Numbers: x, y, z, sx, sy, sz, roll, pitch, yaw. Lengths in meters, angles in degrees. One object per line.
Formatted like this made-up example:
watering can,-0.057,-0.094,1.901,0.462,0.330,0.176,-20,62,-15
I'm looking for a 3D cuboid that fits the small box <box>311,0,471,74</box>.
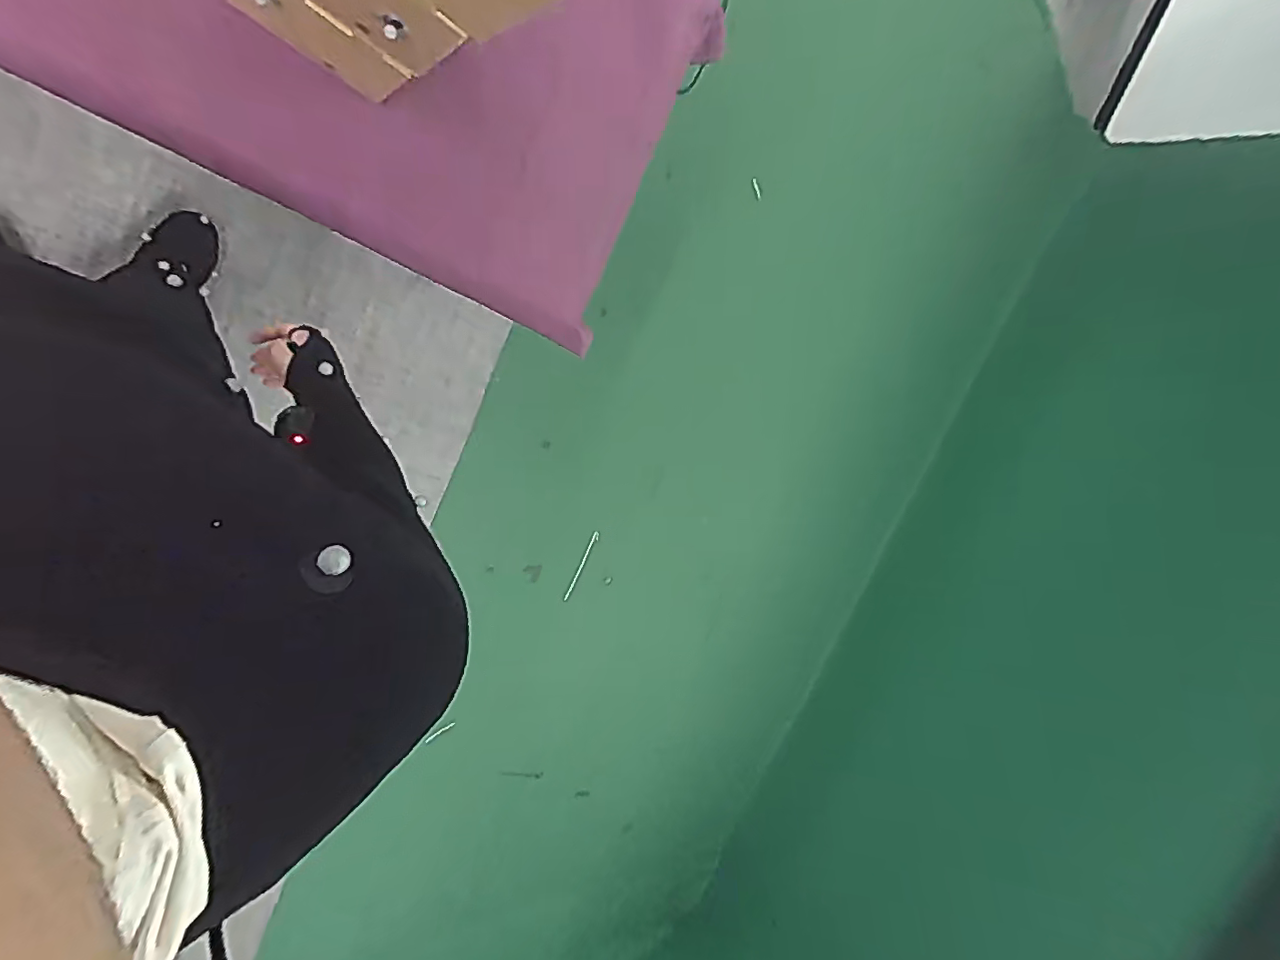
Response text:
small box,-0.222,-0.501,0.468,0.168,0.176,0.179,18,98,-43
